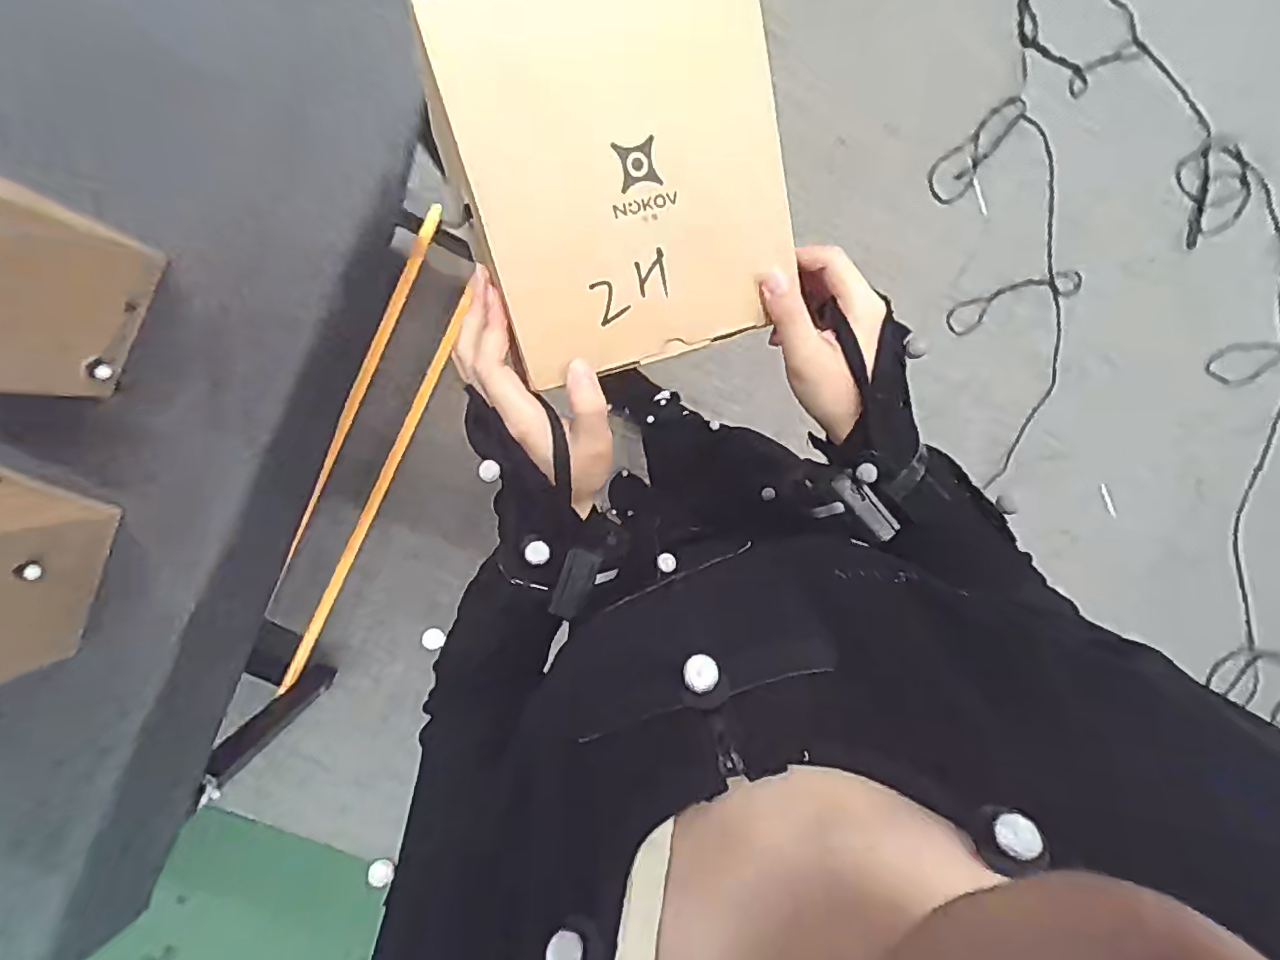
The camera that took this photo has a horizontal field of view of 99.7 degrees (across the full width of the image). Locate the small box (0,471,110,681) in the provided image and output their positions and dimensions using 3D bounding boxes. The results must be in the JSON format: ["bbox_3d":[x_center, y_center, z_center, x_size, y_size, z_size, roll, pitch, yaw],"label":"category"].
[{"bbox_3d":[-0.667,0.090,0.507,0.168,0.176,0.179,21,95,-3],"label":"small box"}]

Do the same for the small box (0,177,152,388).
[{"bbox_3d":[-0.606,-0.191,0.481,0.179,0.176,0.168,26,93,-4],"label":"small box"}]

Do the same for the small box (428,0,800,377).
[{"bbox_3d":[-0.023,-0.174,0.348,0.168,0.176,0.179,-18,109,-12],"label":"small box"}]
